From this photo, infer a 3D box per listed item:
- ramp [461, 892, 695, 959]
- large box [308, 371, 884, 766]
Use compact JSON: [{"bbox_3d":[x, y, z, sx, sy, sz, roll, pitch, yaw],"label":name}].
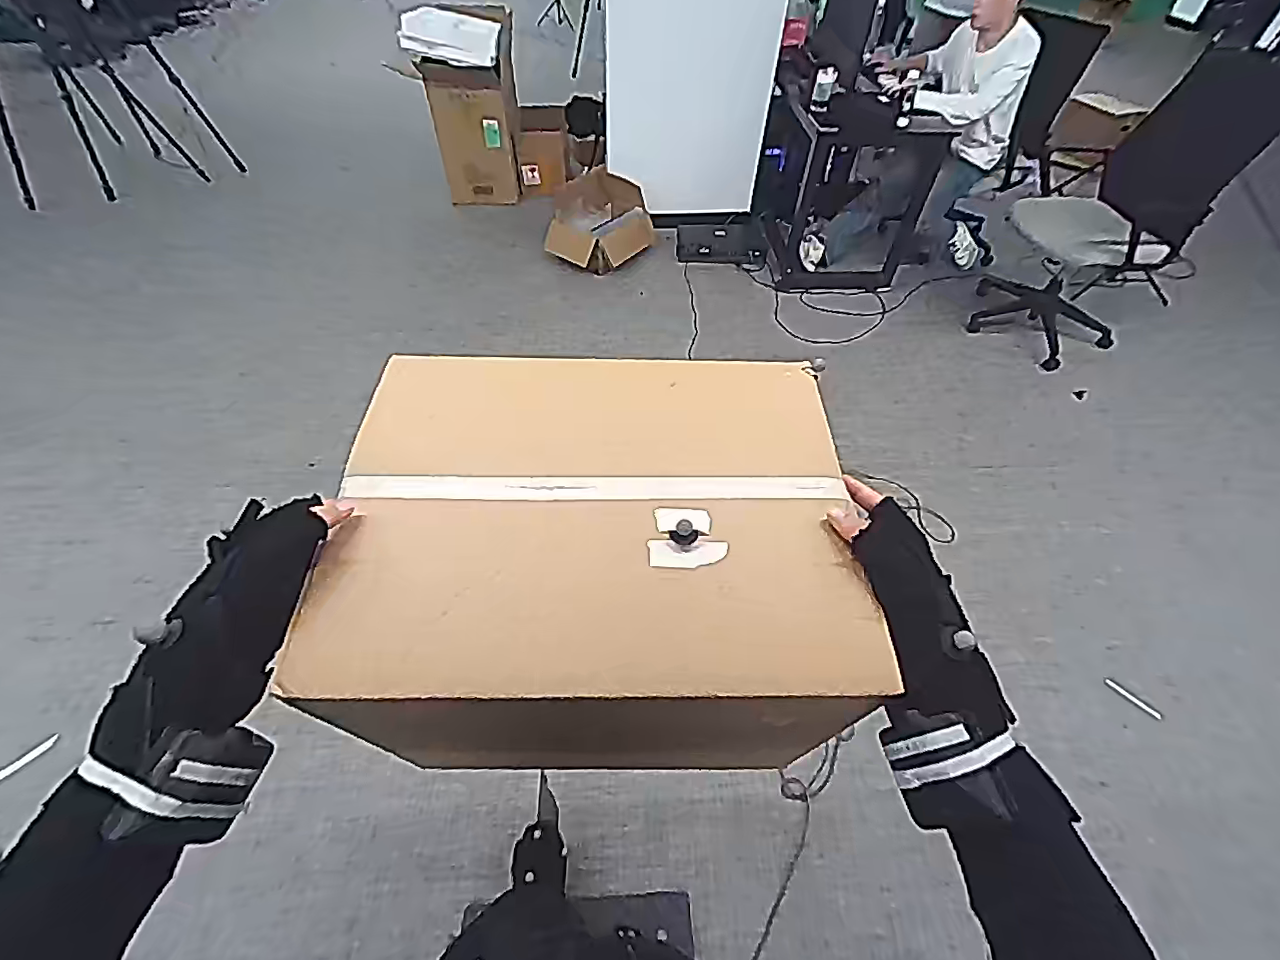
[{"bbox_3d":[-0.108,1.256,0.823,0.509,0.206,0.991,-3,51,-3],"label":"ramp"},{"bbox_3d":[-0.036,0.104,0.574,0.408,0.320,0.320,1,54,-2],"label":"large box"}]
